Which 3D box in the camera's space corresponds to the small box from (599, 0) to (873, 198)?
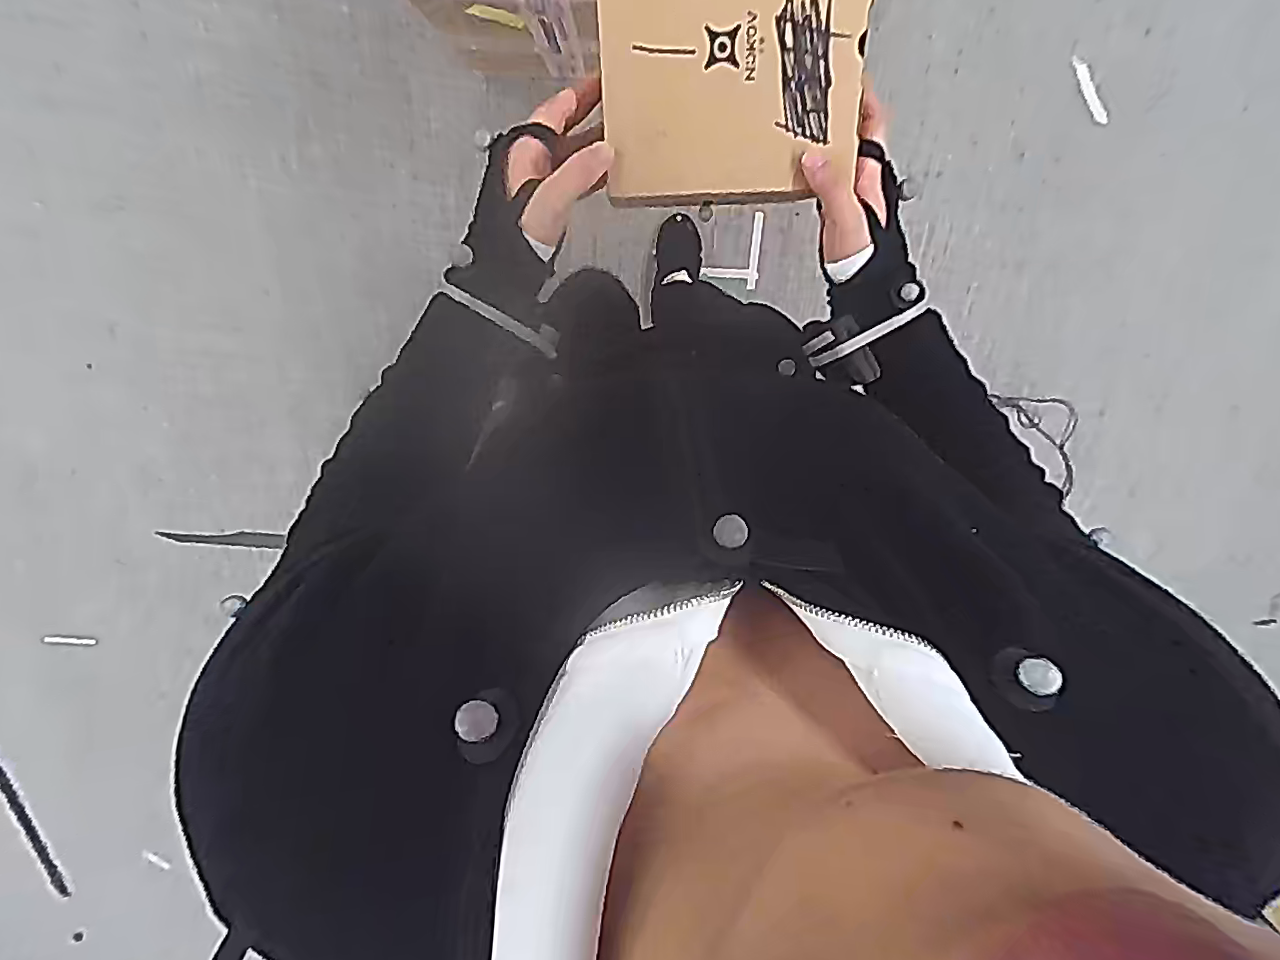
[{"bbox_3d":[0.059,-0.317,0.419,0.179,0.176,0.168,-2,114,0],"label":"small box"}]
